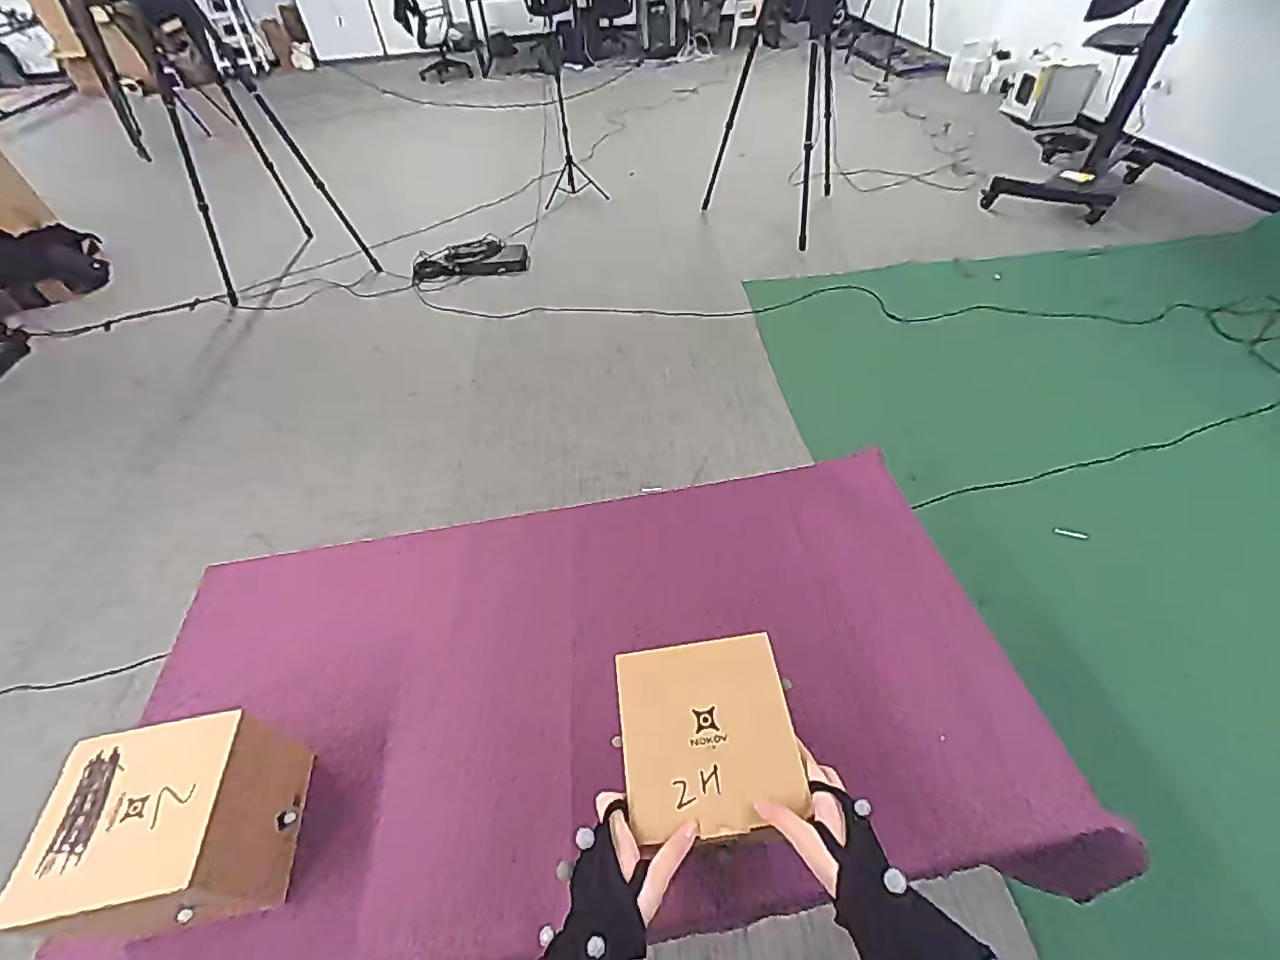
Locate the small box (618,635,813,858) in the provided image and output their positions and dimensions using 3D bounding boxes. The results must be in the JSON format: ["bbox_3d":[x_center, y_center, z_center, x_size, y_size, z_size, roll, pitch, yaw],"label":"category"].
[{"bbox_3d":[0.072,0.292,0.588,0.168,0.176,0.179,-9,52,1],"label":"small box"}]
